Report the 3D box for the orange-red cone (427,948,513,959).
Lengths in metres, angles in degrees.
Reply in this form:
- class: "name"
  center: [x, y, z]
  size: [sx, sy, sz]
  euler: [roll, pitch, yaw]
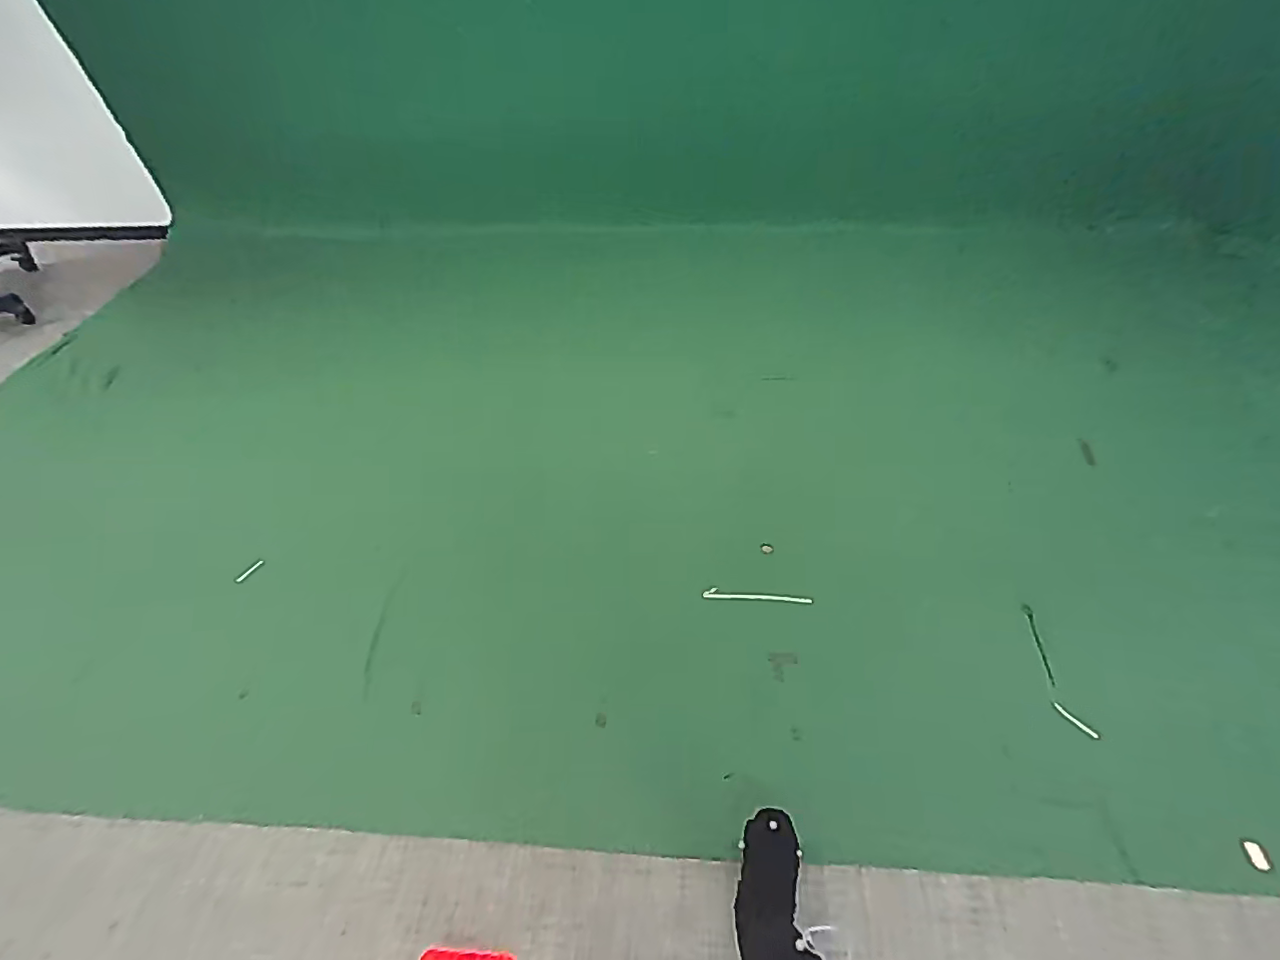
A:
- class: "orange-red cone"
  center: [-0.357, 0.929, 0.914]
  size: [0.198, 0.360, 0.199]
  euler: [1, 50, 5]
